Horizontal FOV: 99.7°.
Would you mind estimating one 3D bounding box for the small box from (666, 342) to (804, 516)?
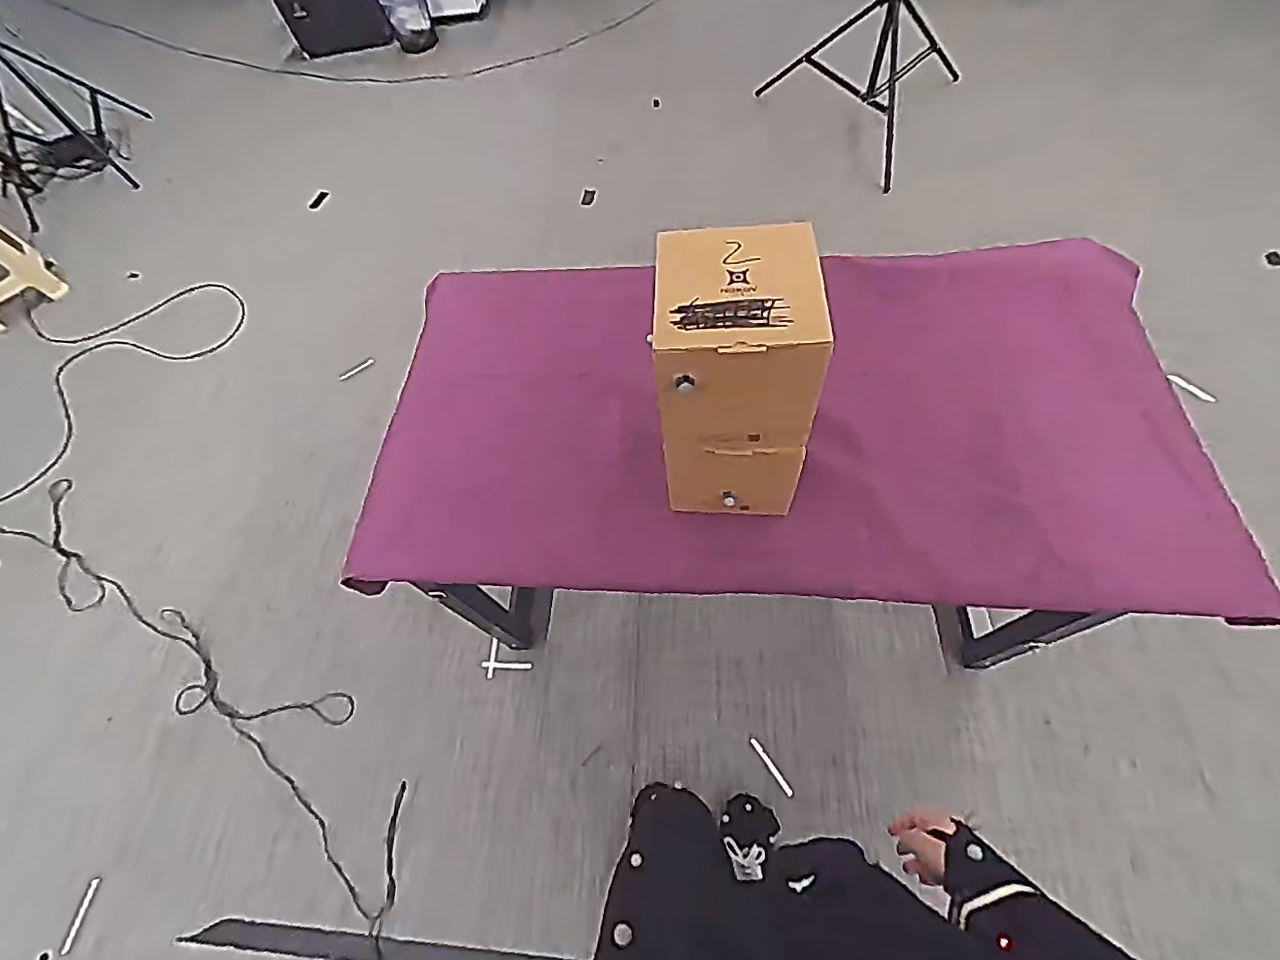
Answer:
[{"bbox_3d":[0.127,-0.068,0.747,0.168,0.176,0.179,2,61,8],"label":"small box"}]
